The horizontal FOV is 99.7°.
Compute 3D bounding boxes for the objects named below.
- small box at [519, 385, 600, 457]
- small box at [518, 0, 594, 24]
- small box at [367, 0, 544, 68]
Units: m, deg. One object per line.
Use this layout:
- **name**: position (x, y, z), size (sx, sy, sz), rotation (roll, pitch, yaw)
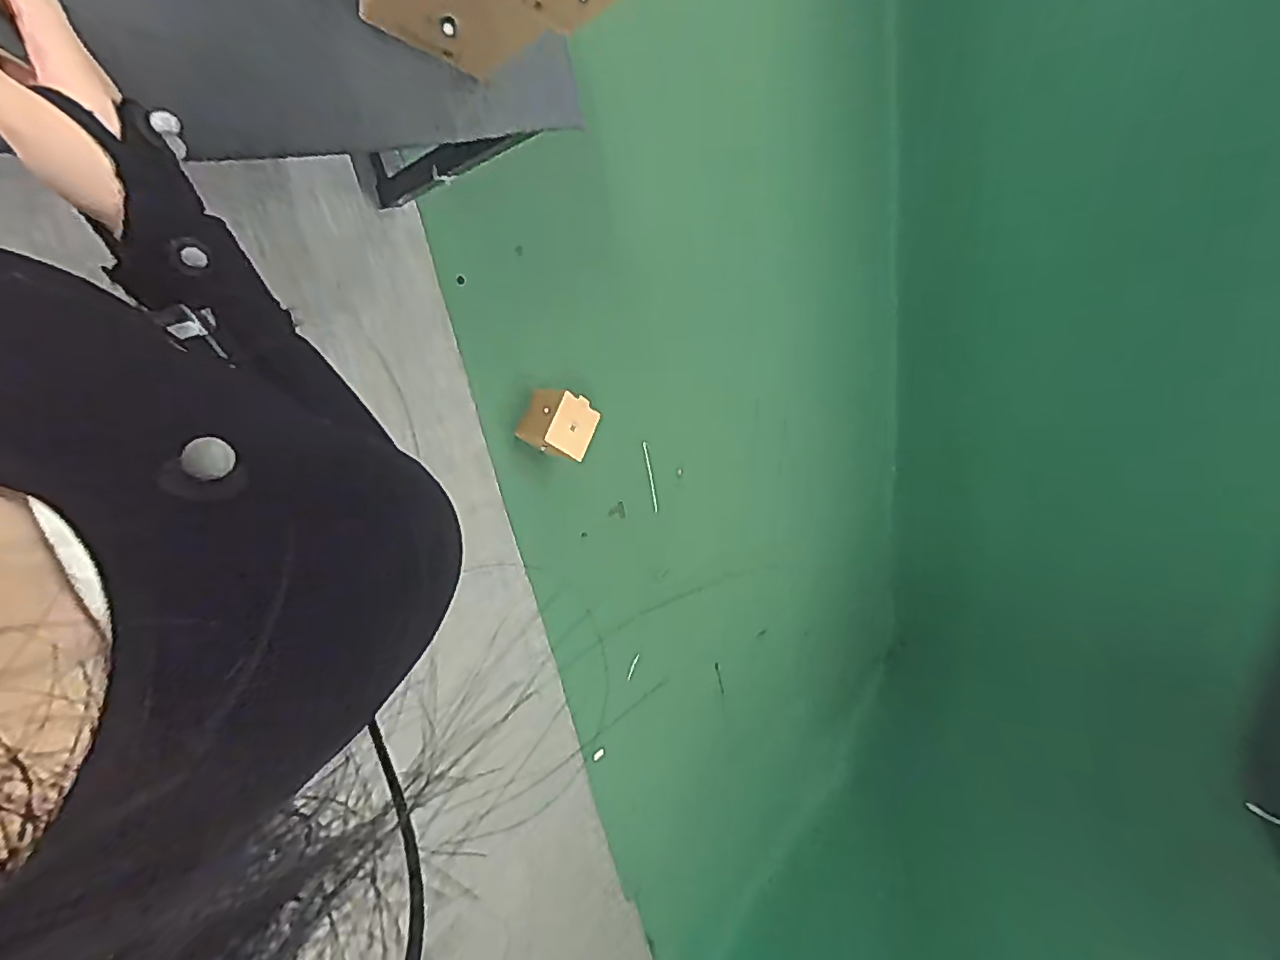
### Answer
- **small box**: position (-0.267, -0.192, 1.750), size (0.168, 0.176, 0.179), rotation (32, 76, -44)
- **small box**: position (-0.094, -0.614, 0.537), size (0.168, 0.176, 0.179), rotation (-11, 104, -45)
- **small box**: position (-0.221, -0.638, 0.635), size (0.168, 0.176, 0.179), rotation (-5, 99, -45)
